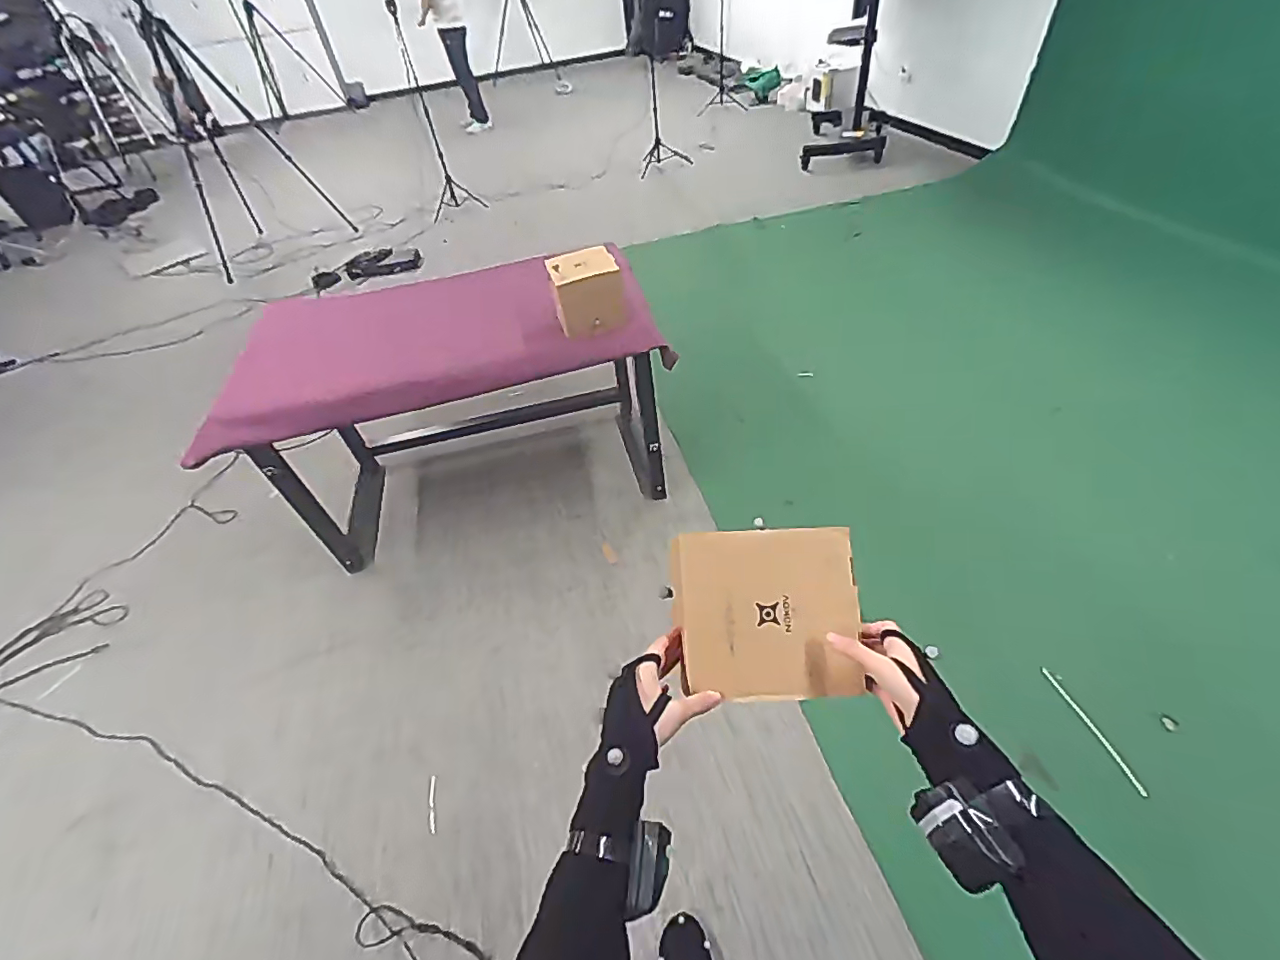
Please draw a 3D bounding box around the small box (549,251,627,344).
[{"bbox_3d":[-0.140,-0.505,1.502,0.179,0.176,0.168,-17,46,-7],"label":"small box"}]

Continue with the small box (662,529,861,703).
[{"bbox_3d":[0.121,0.142,0.606,0.179,0.176,0.168,-2,80,-2],"label":"small box"}]
